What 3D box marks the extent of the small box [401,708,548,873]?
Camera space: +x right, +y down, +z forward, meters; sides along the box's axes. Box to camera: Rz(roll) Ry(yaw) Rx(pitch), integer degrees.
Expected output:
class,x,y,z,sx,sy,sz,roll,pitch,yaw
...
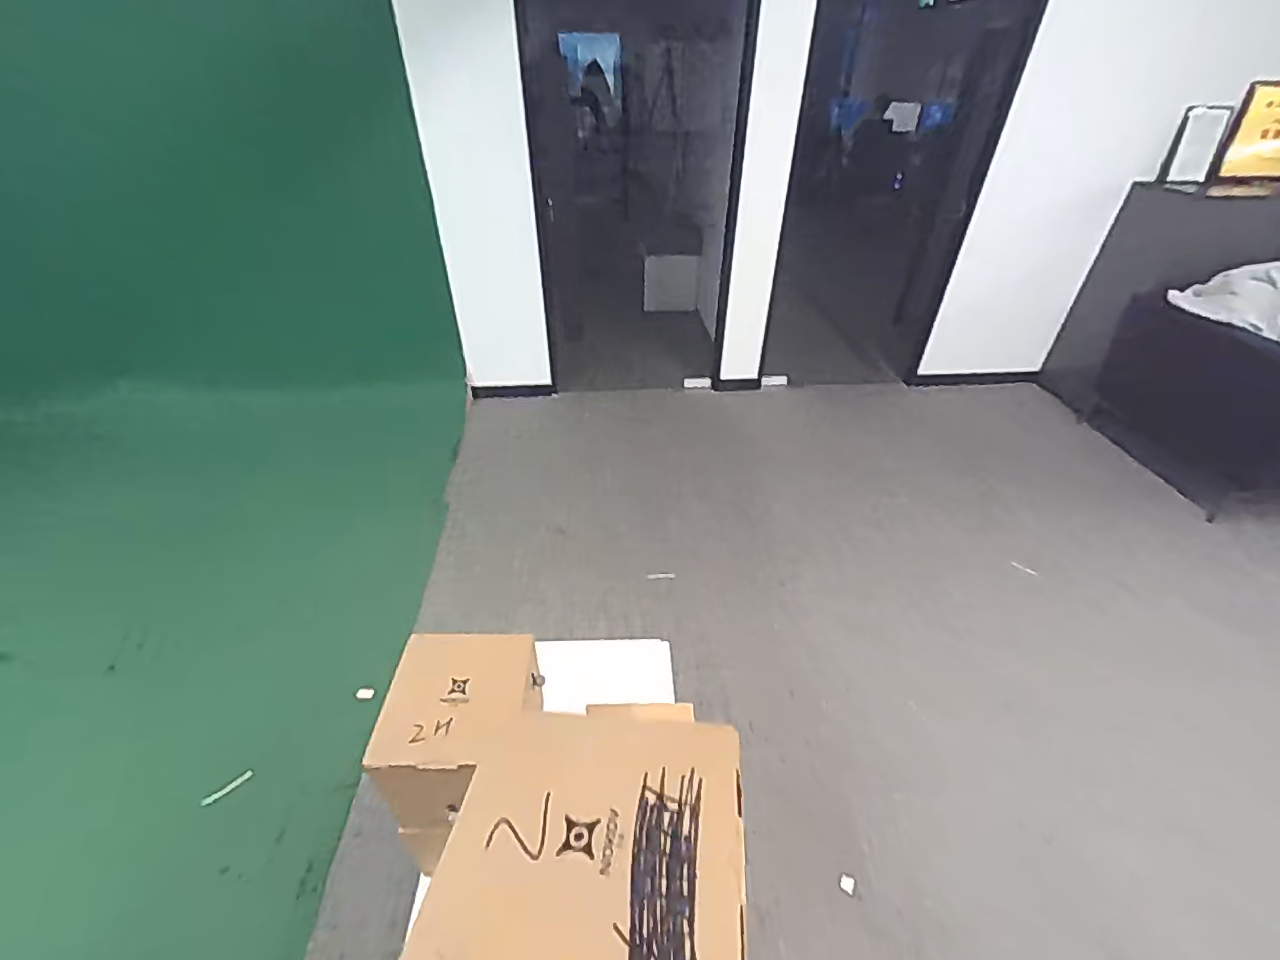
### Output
class,x,y,z,sx,sy,sz,roll,pitch,yaw
small box,-0.230,0.455,0.807,0.168,0.176,0.179,0,39,-2

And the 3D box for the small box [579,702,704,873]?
class,x,y,z,sx,sy,sz,roll,pitch,yaw
small box,0.001,0.457,0.810,0.168,0.176,0.179,-1,38,0

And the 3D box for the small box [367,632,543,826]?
class,x,y,z,sx,sy,sz,roll,pitch,yaw
small box,-0.223,0.323,0.709,0.168,0.176,0.179,0,38,-1
